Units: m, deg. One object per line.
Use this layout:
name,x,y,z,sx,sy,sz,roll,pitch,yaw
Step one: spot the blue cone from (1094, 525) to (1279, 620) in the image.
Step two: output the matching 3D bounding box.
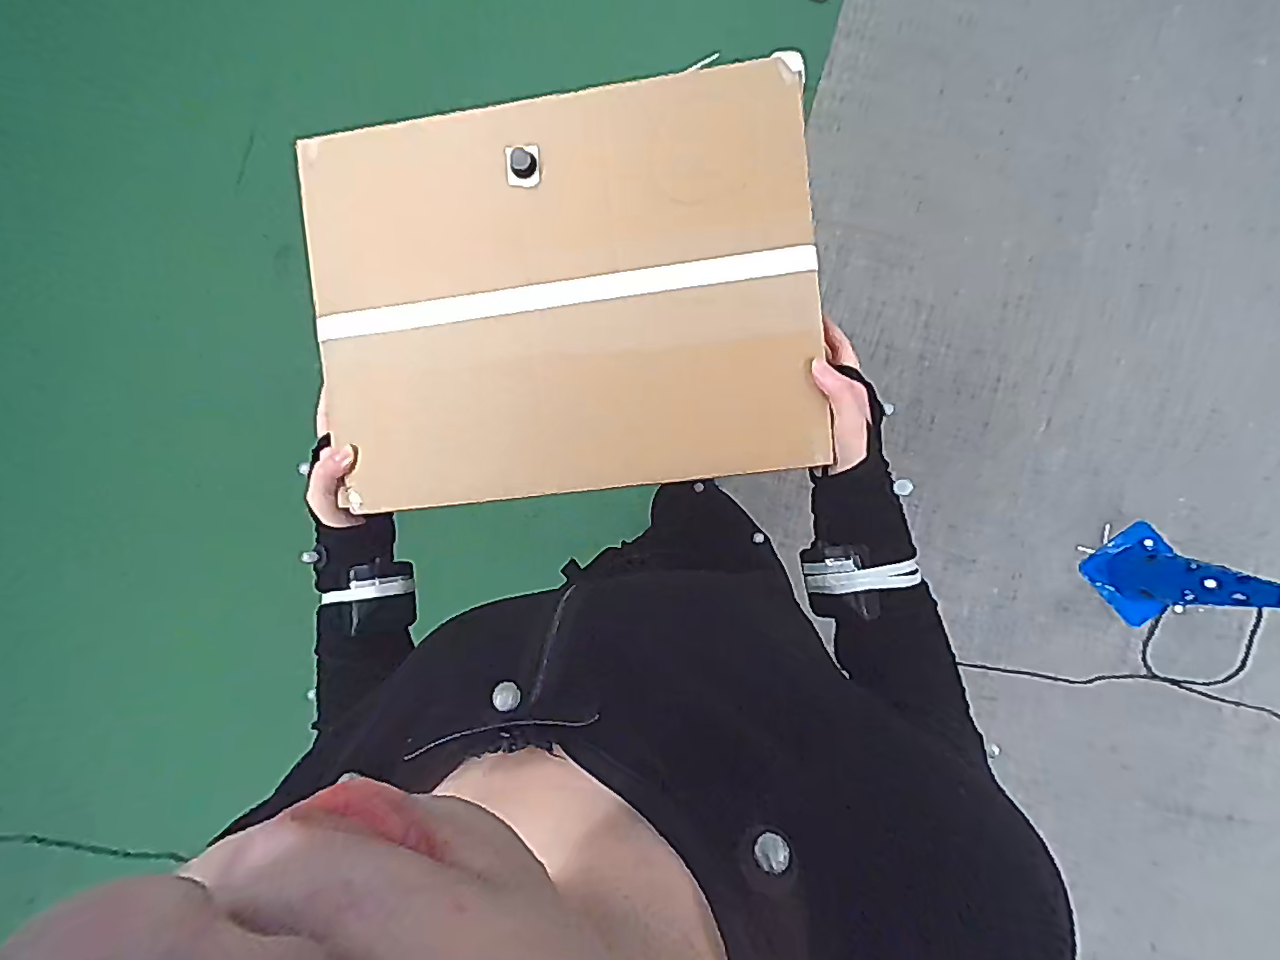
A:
blue cone,1.222,0.217,1.167,0.192,0.380,0.193,-42,82,3
